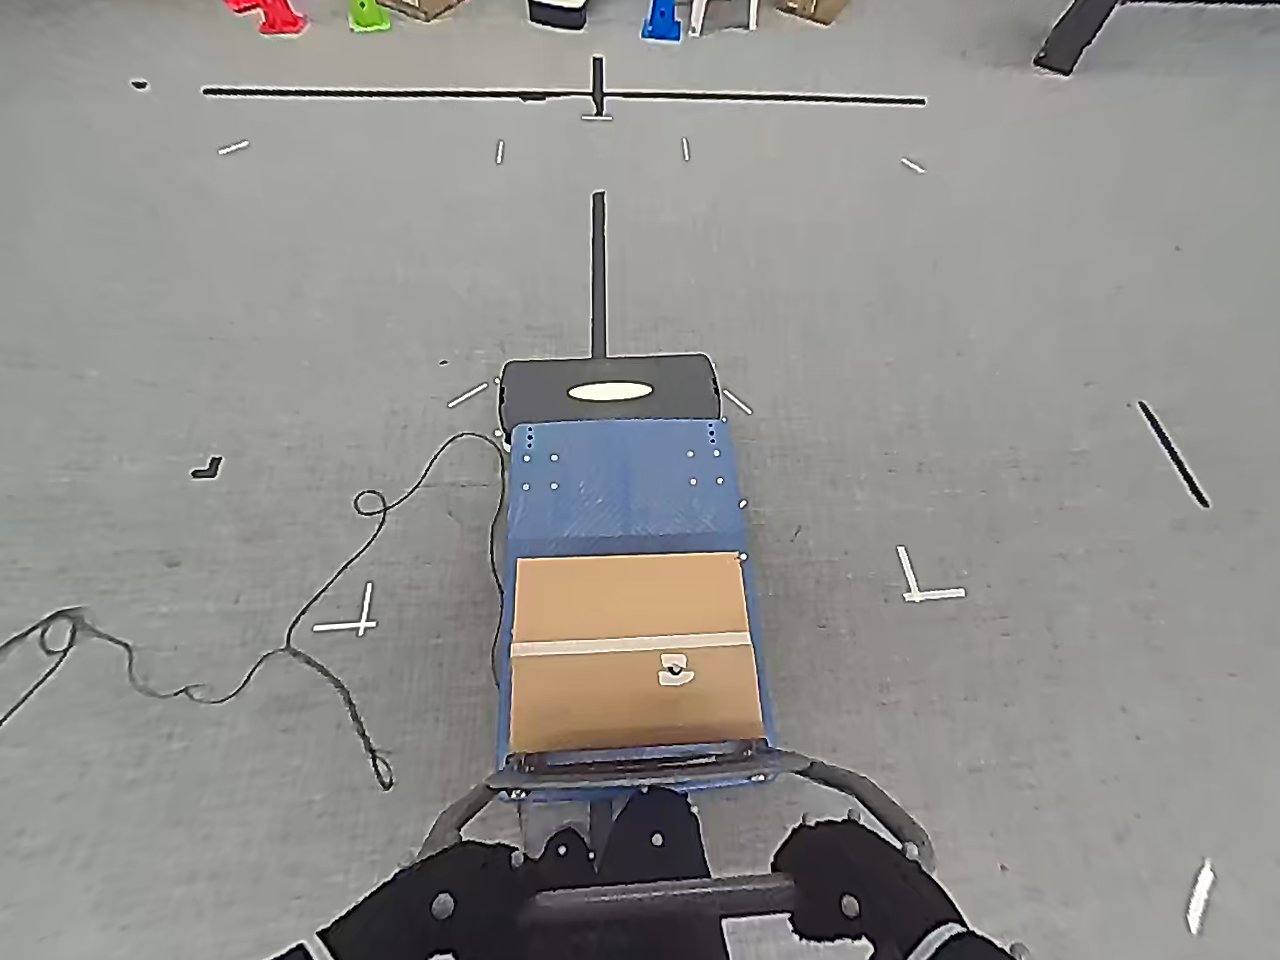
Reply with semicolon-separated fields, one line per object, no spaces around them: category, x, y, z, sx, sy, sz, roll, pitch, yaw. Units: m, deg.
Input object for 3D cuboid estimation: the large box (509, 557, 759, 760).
large box;-0.026;0.349;1.042;0.408;0.320;0.320;-1;65;-5
